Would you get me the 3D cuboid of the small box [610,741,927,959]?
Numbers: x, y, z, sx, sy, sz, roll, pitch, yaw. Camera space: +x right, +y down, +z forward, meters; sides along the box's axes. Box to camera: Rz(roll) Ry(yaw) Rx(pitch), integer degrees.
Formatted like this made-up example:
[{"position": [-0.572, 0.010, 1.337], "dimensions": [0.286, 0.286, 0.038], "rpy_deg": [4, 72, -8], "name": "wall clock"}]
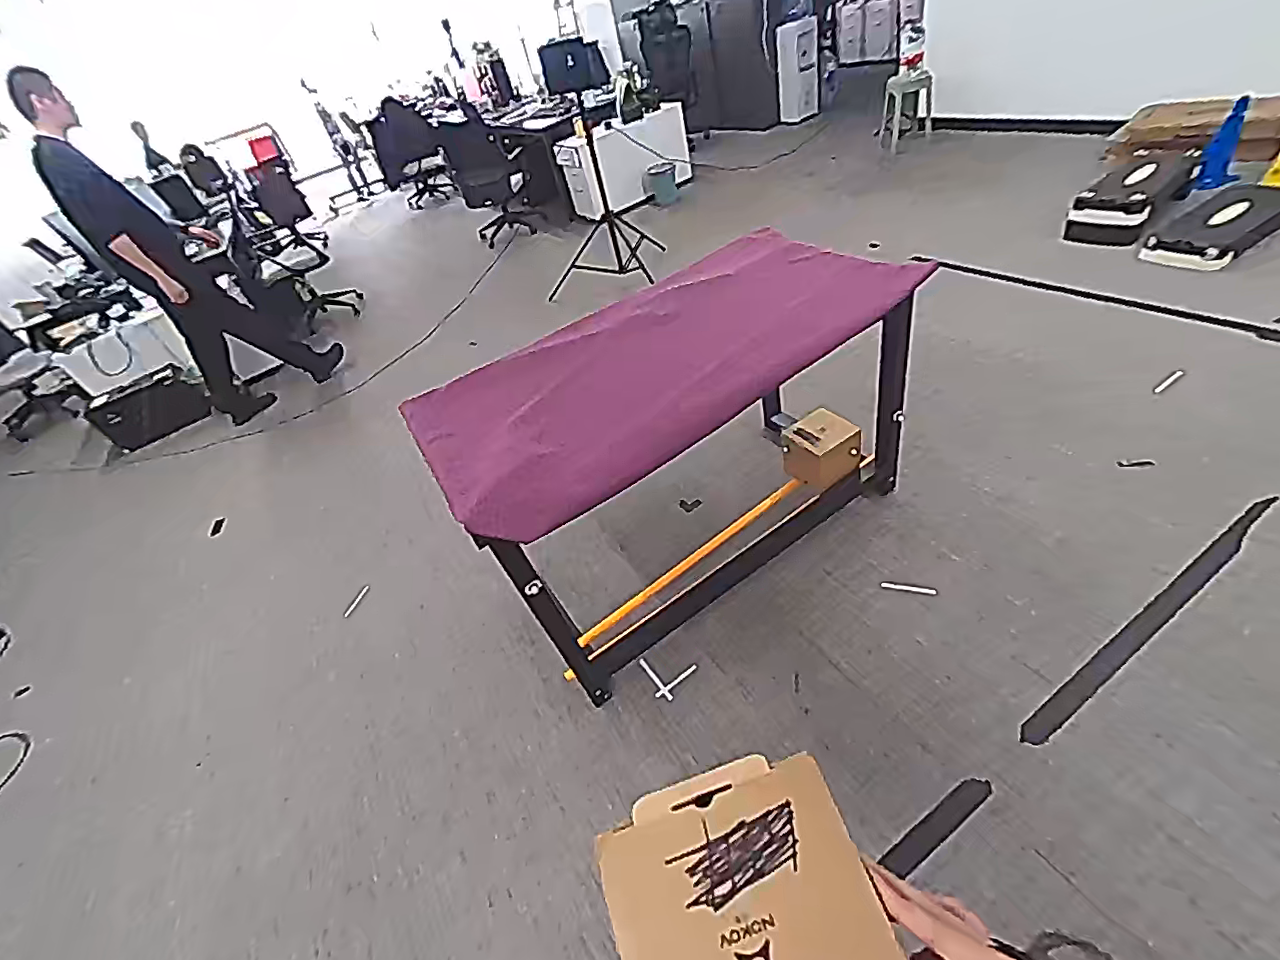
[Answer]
[{"position": [0.093, 0.318, 0.391], "dimensions": [0.168, 0.176, 0.179], "rpy_deg": [-21, 55, 0], "name": "small box"}]
